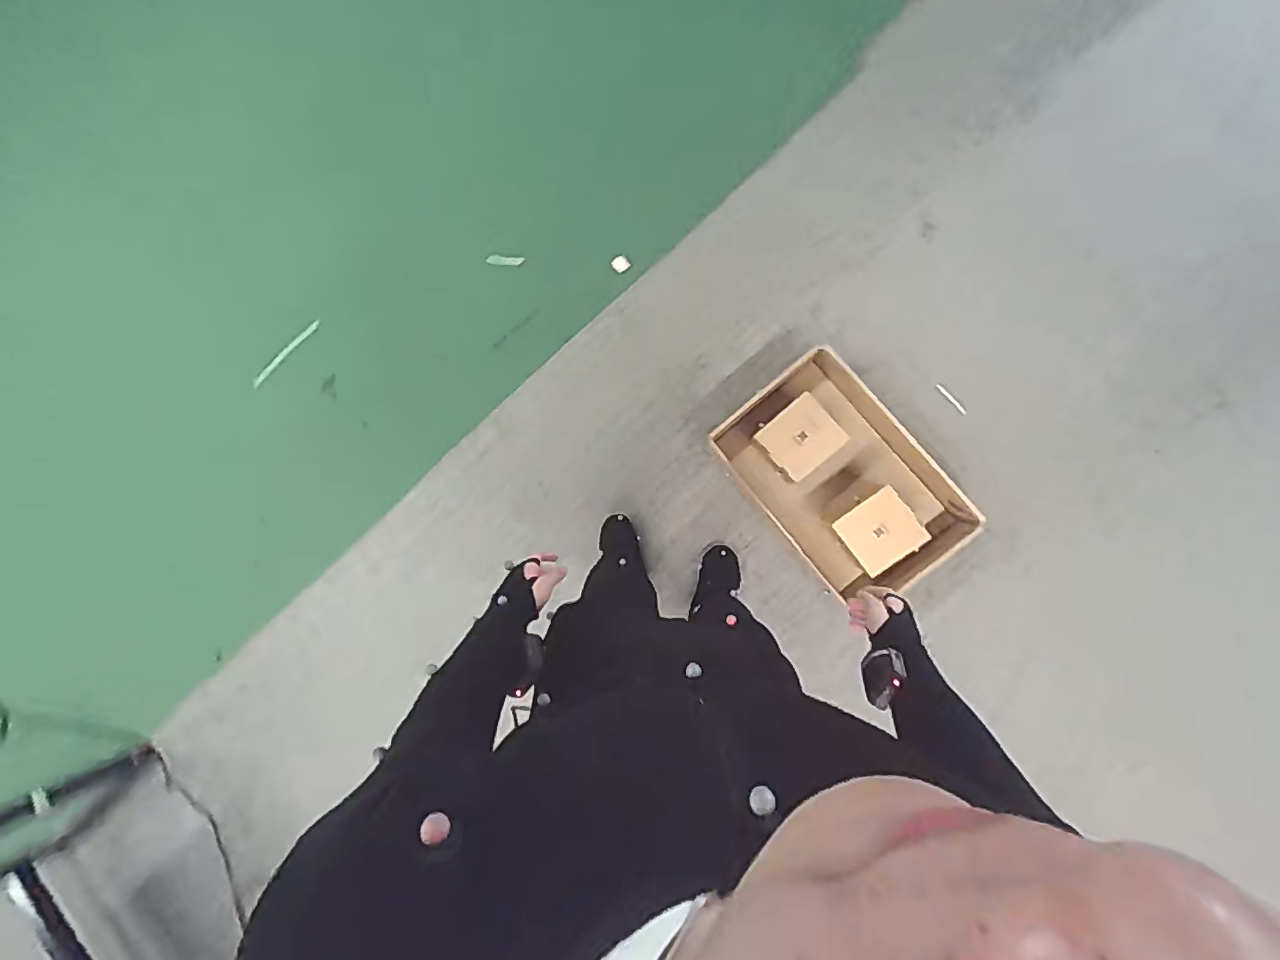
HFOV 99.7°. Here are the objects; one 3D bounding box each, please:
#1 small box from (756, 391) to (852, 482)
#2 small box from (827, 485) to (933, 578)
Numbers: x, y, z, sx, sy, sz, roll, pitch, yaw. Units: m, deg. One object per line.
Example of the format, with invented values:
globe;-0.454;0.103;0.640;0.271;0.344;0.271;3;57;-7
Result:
small box;0.423;-0.106;1.432;0.179;0.176;0.168;-40;85;5
small box;0.606;0.131;1.398;0.179;0.176;0.168;-36;83;6
